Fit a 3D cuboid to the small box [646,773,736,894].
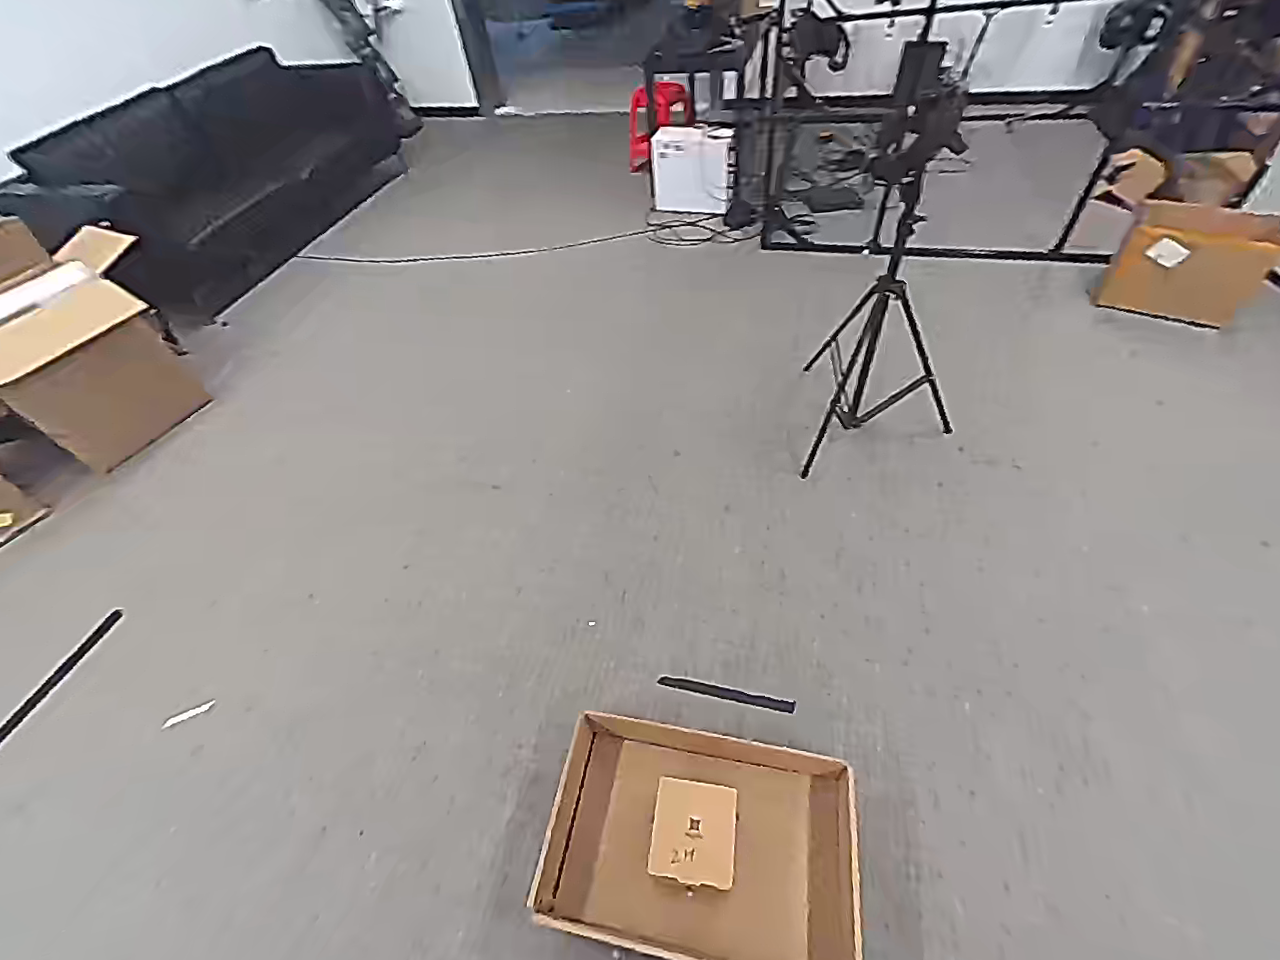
[{"bbox_3d":[0.112,0.748,1.145,0.168,0.176,0.179,4,50,11],"label":"small box"}]
